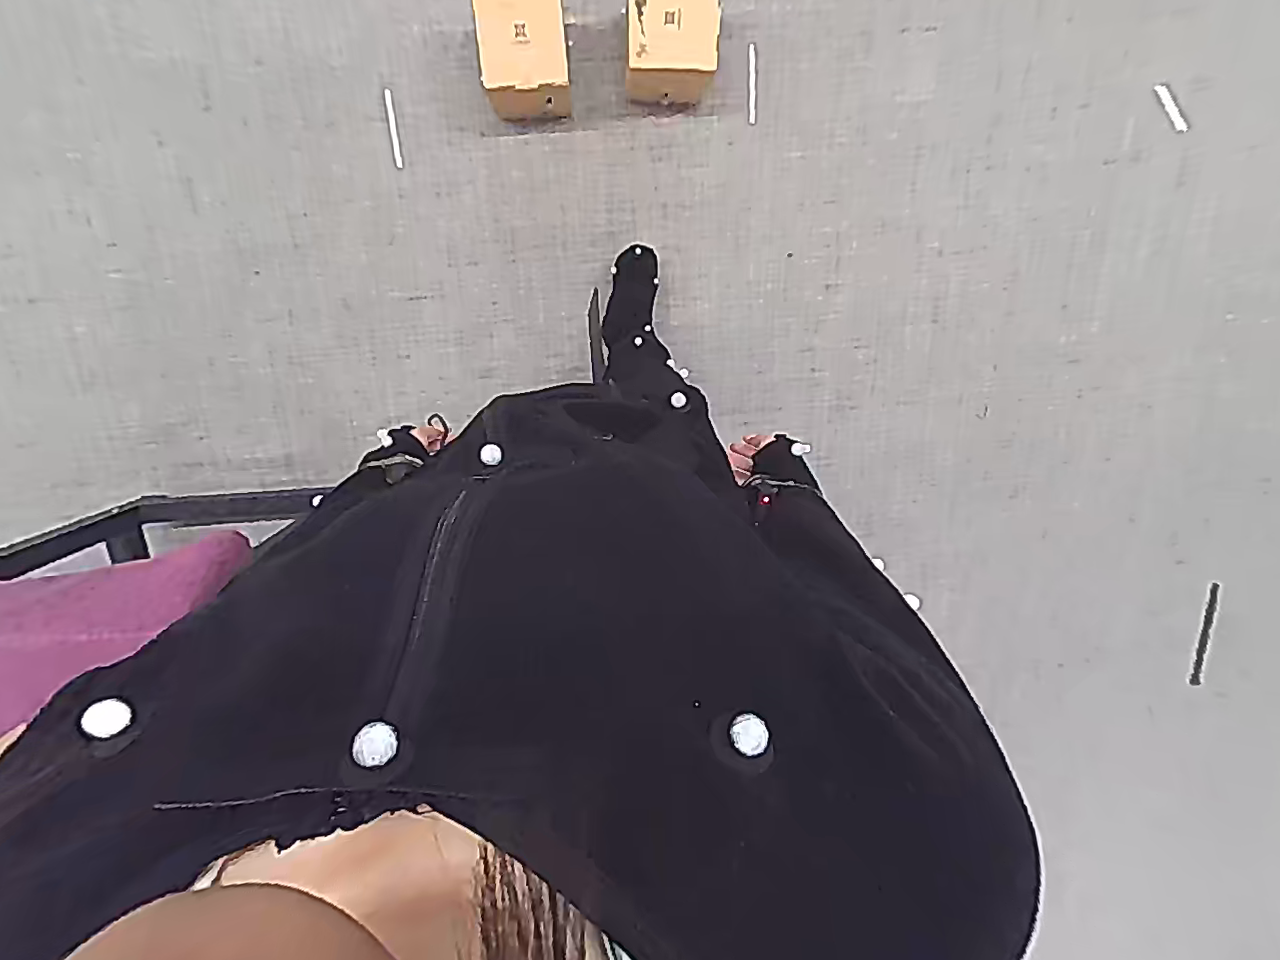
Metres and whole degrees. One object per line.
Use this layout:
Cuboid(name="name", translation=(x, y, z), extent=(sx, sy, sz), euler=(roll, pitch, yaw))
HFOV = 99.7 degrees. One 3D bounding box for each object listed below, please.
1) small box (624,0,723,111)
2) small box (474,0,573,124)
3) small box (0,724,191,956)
Cuboid(name="small box", translation=(0.062, -0.884, 1.112), extent=(0.179, 0.176, 0.168), euler=(-1, 106, -5))
Cuboid(name="small box", translation=(-0.227, -0.847, 1.099), extent=(0.168, 0.176, 0.179), euler=(-6, 105, -4))
Cuboid(name="small box", translation=(-0.710, 0.424, 0.655), extent=(0.179, 0.176, 0.168), euler=(-5, 107, -3))
